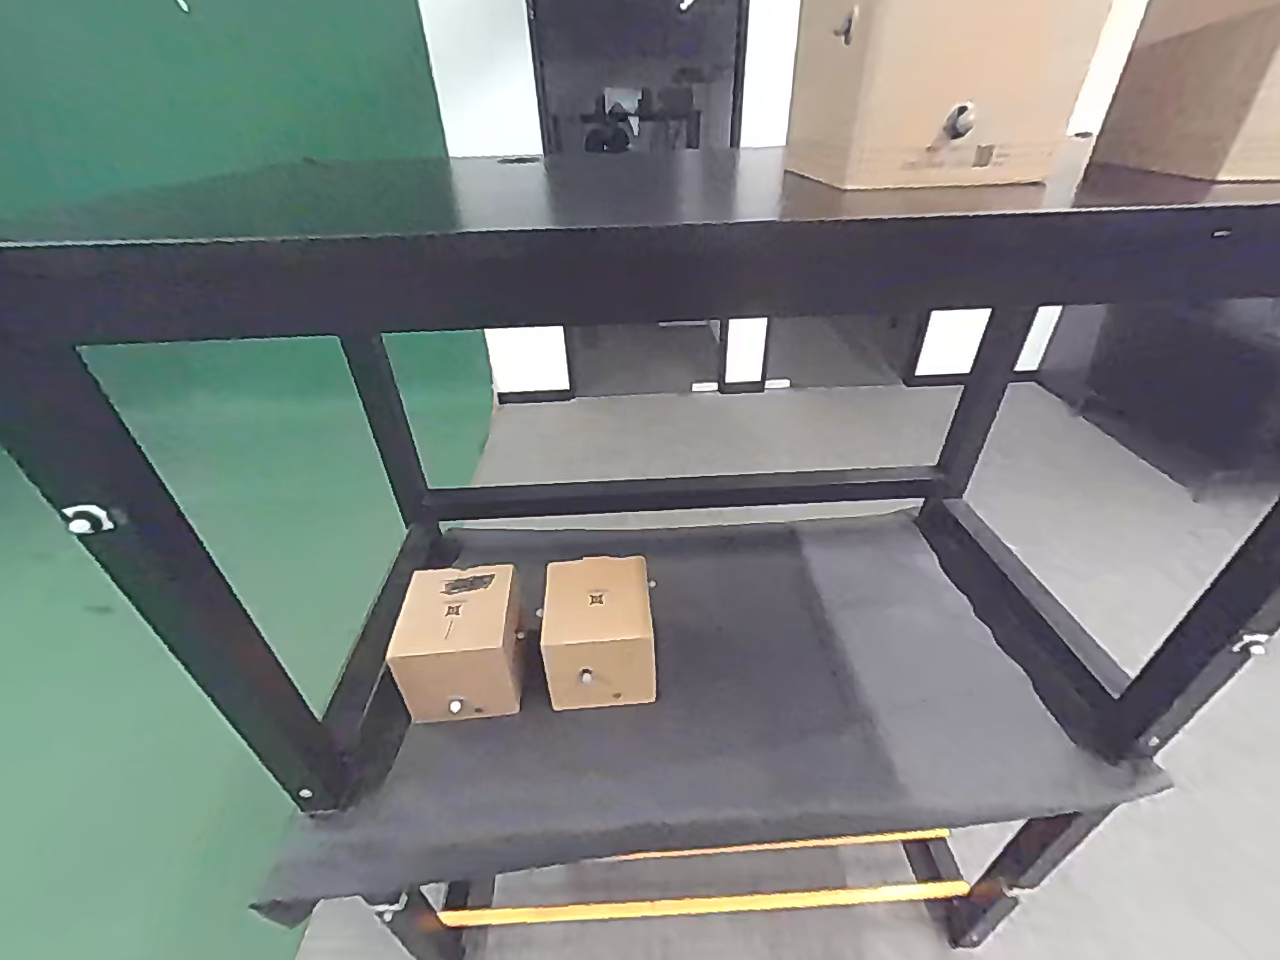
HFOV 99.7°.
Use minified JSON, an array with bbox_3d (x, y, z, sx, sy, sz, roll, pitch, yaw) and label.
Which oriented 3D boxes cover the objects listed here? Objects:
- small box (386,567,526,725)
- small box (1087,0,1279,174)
[{"bbox_3d":[-0.284,0.266,0.879,0.168,0.176,0.179,-4,35,-3],"label":"small box"},{"bbox_3d":[0.500,-0.332,0.410,0.168,0.176,0.179,3,34,7],"label":"small box"}]
